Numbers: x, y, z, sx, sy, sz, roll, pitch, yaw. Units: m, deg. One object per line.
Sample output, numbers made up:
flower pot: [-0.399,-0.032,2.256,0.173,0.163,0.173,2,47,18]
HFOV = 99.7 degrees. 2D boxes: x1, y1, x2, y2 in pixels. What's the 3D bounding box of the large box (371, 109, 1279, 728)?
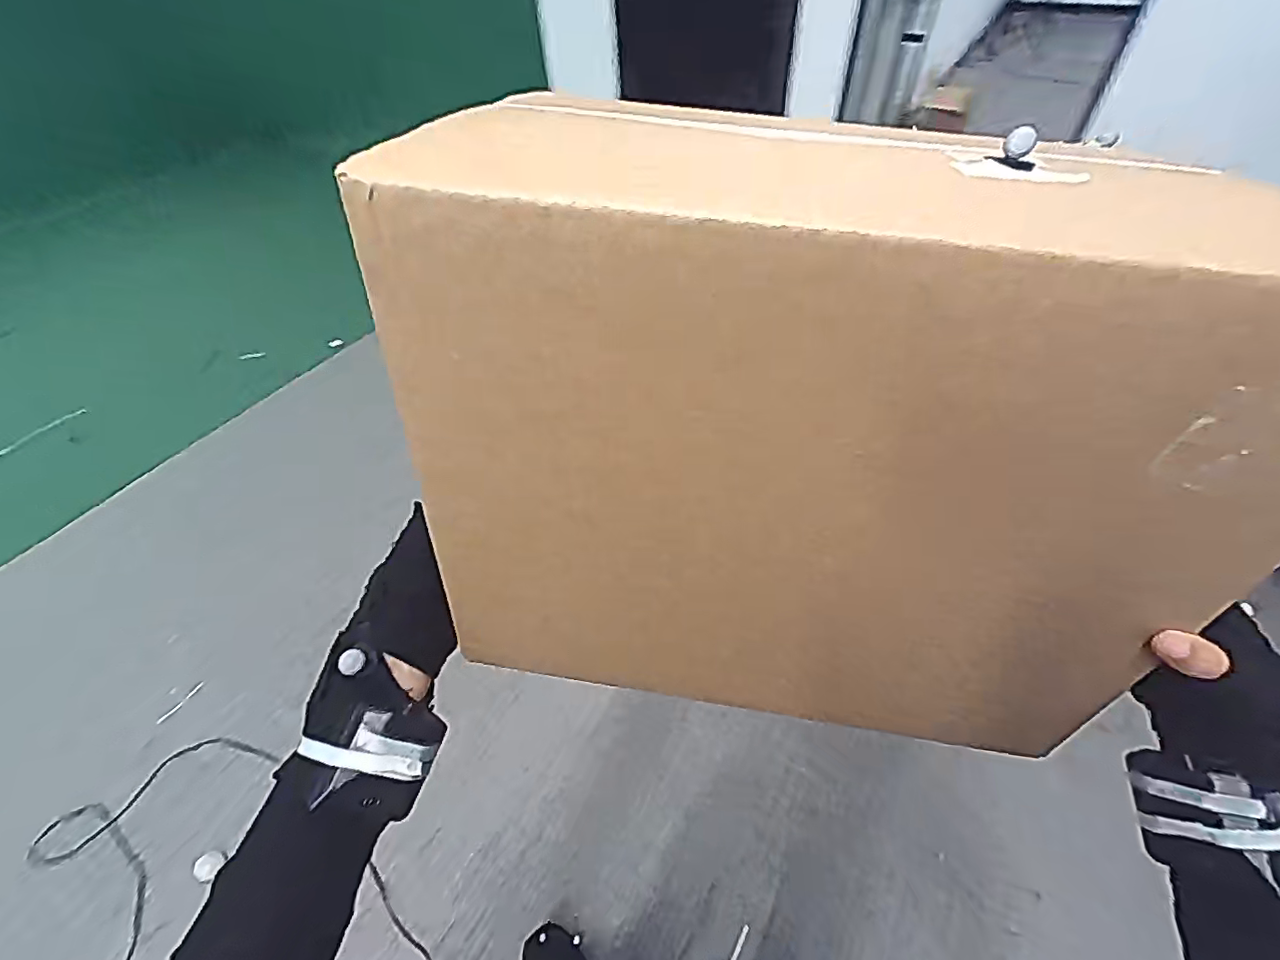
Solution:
large box: [0.097,-0.058,0.402,0.408,0.320,0.320,8,41,3]
